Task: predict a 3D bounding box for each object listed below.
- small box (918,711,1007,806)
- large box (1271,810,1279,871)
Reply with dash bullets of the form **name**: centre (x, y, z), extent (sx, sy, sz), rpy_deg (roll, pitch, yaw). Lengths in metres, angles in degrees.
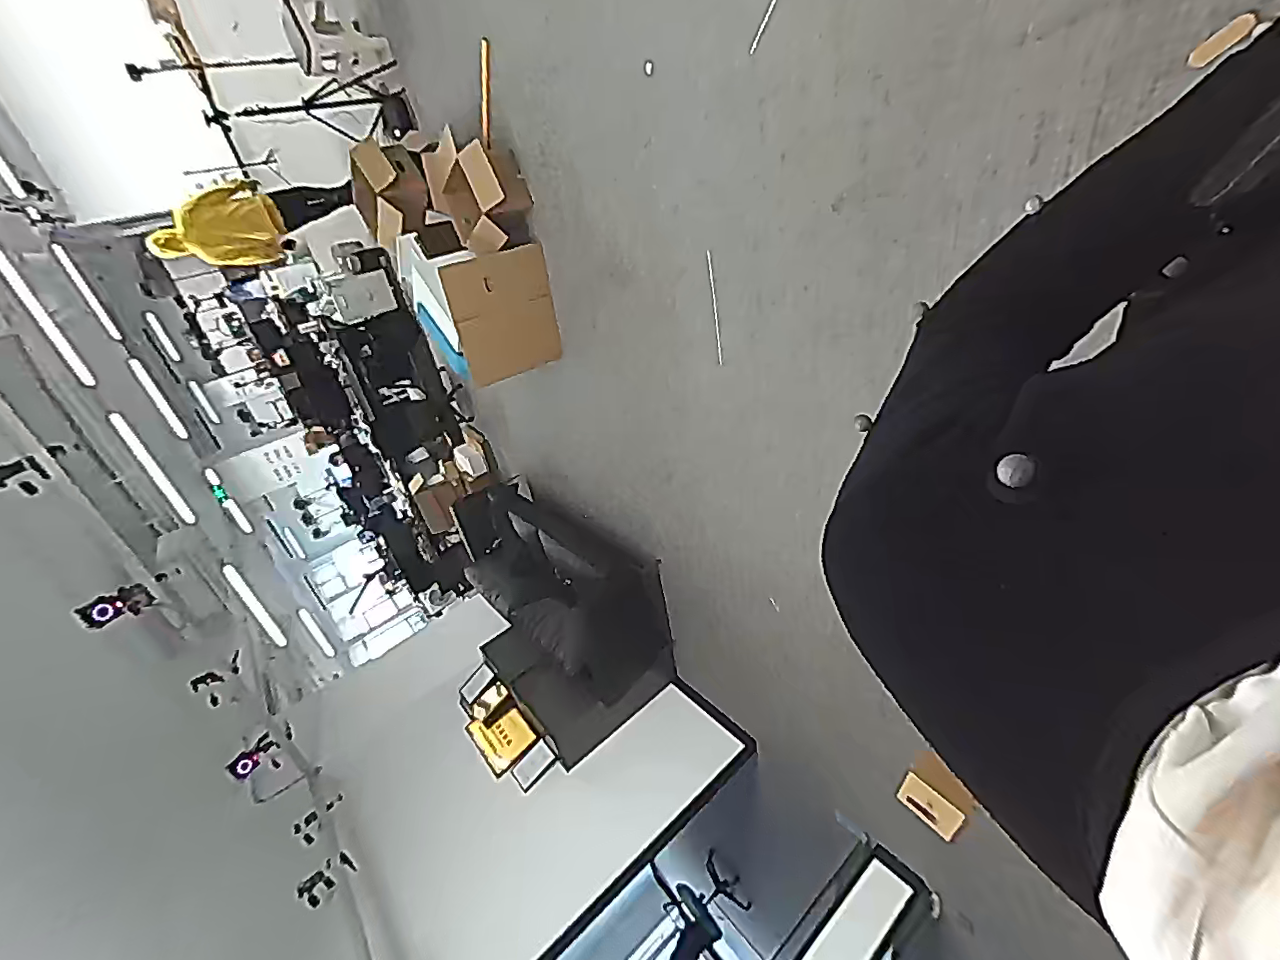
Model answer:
- **small box**: centre (1.025, 0.875, 1.714), extent (0.168, 0.176, 0.179), rpy_deg (35, 141, 38)
- **large box**: centre (1.715, 0.879, 1.145), extent (0.320, 0.320, 0.408), rpy_deg (60, 150, -2)
